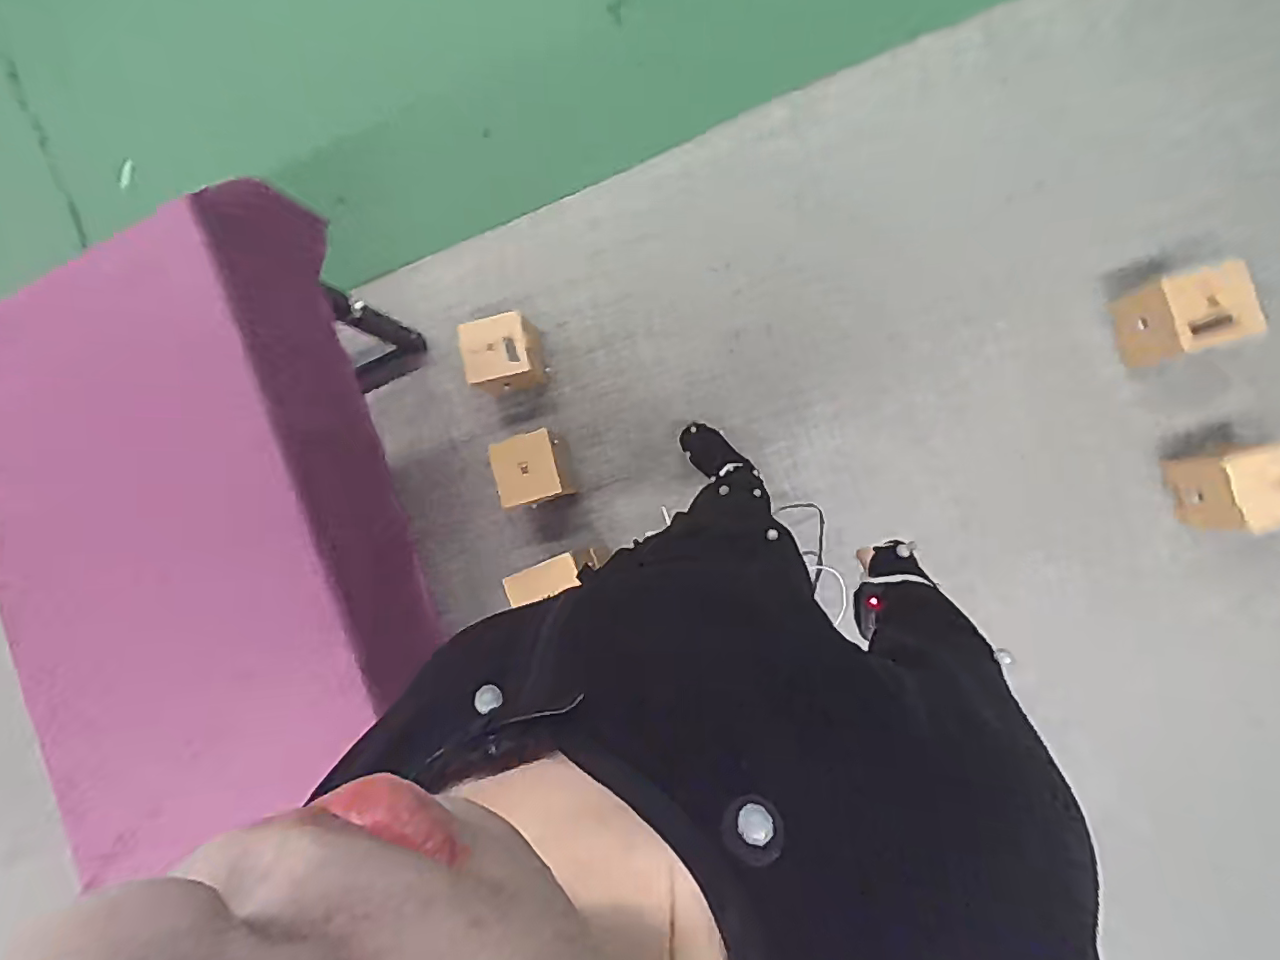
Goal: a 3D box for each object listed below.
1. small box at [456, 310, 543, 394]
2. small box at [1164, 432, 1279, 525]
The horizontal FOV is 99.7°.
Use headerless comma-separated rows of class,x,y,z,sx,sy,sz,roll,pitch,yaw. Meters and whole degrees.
small box,-0.377,-0.345,1.489,0.179,0.176,0.168,-12,87,9
small box,1.350,-0.002,1.221,0.179,0.176,0.168,-18,86,8
